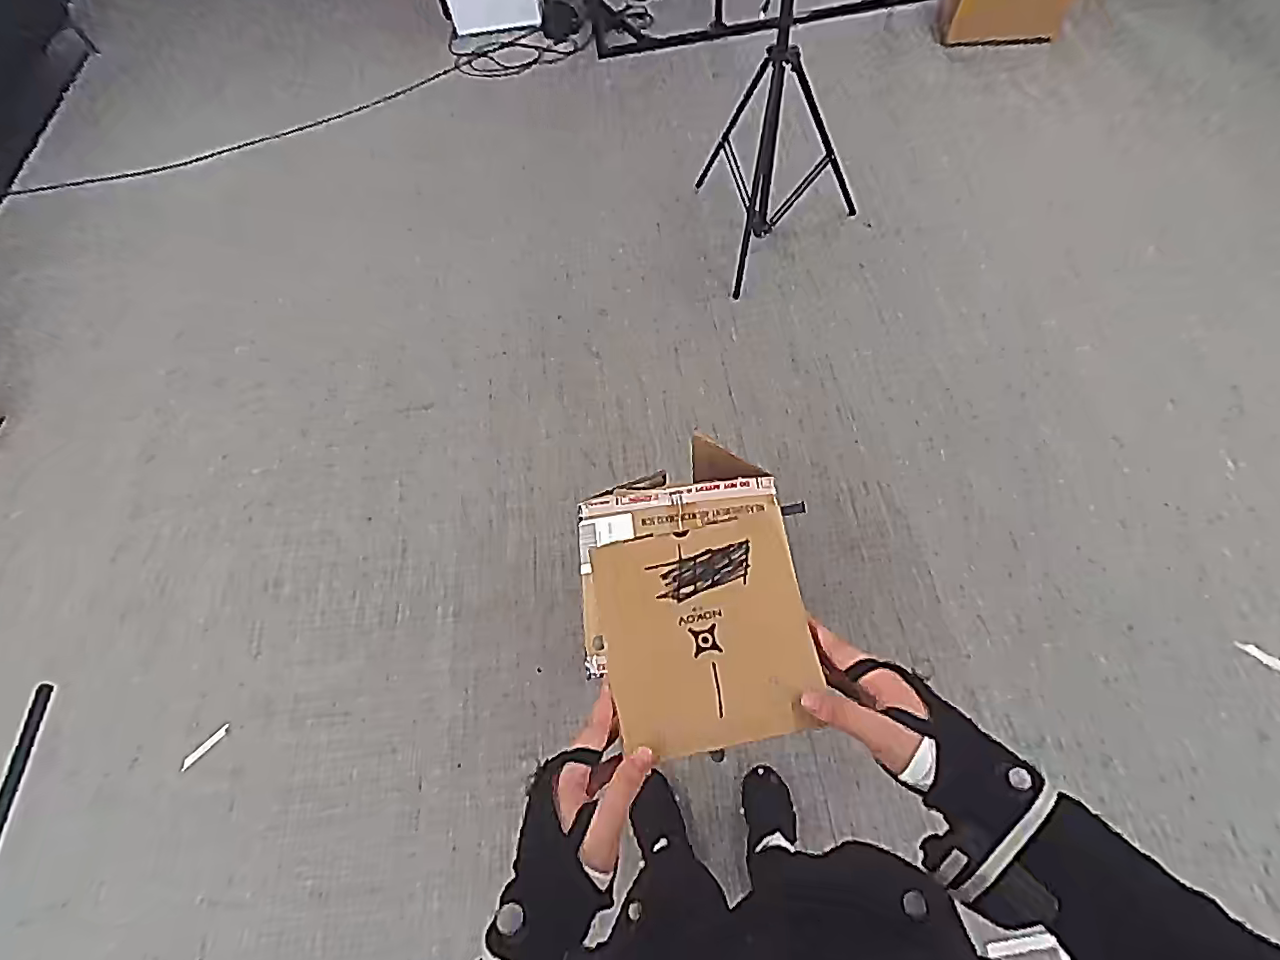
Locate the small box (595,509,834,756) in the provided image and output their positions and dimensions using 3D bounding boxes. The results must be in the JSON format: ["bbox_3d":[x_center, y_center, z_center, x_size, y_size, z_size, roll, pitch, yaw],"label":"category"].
[{"bbox_3d":[0.058,0.149,0.517,0.168,0.176,0.179,-12,67,-1],"label":"small box"}]
